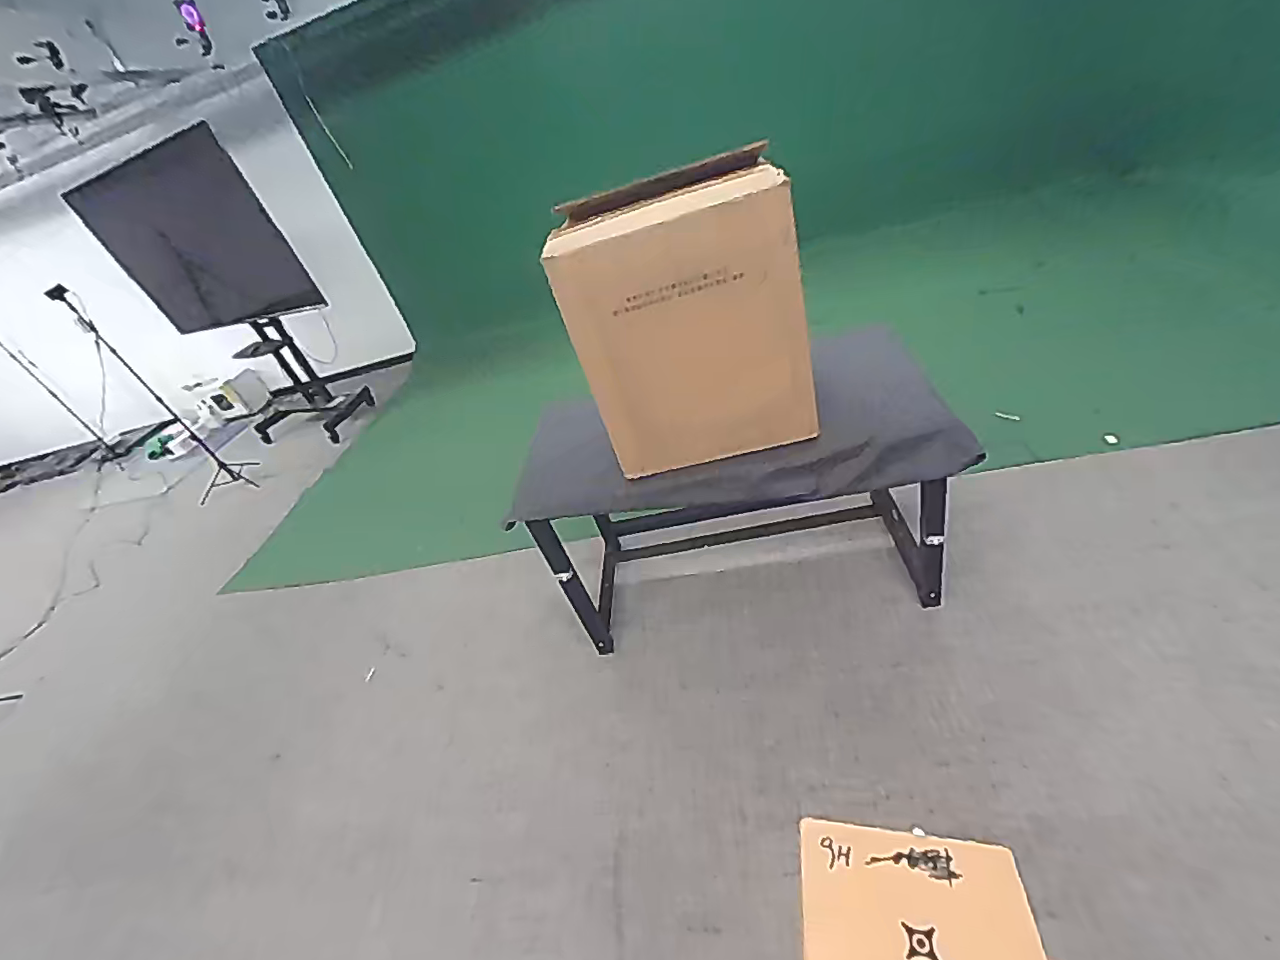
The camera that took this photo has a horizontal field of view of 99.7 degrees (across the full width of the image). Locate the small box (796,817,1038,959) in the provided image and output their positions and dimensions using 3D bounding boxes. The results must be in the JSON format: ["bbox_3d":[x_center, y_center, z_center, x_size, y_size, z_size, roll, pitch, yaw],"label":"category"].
[{"bbox_3d":[0.213,0.416,0.435,0.168,0.176,0.179,0,32,15],"label":"small box"}]
